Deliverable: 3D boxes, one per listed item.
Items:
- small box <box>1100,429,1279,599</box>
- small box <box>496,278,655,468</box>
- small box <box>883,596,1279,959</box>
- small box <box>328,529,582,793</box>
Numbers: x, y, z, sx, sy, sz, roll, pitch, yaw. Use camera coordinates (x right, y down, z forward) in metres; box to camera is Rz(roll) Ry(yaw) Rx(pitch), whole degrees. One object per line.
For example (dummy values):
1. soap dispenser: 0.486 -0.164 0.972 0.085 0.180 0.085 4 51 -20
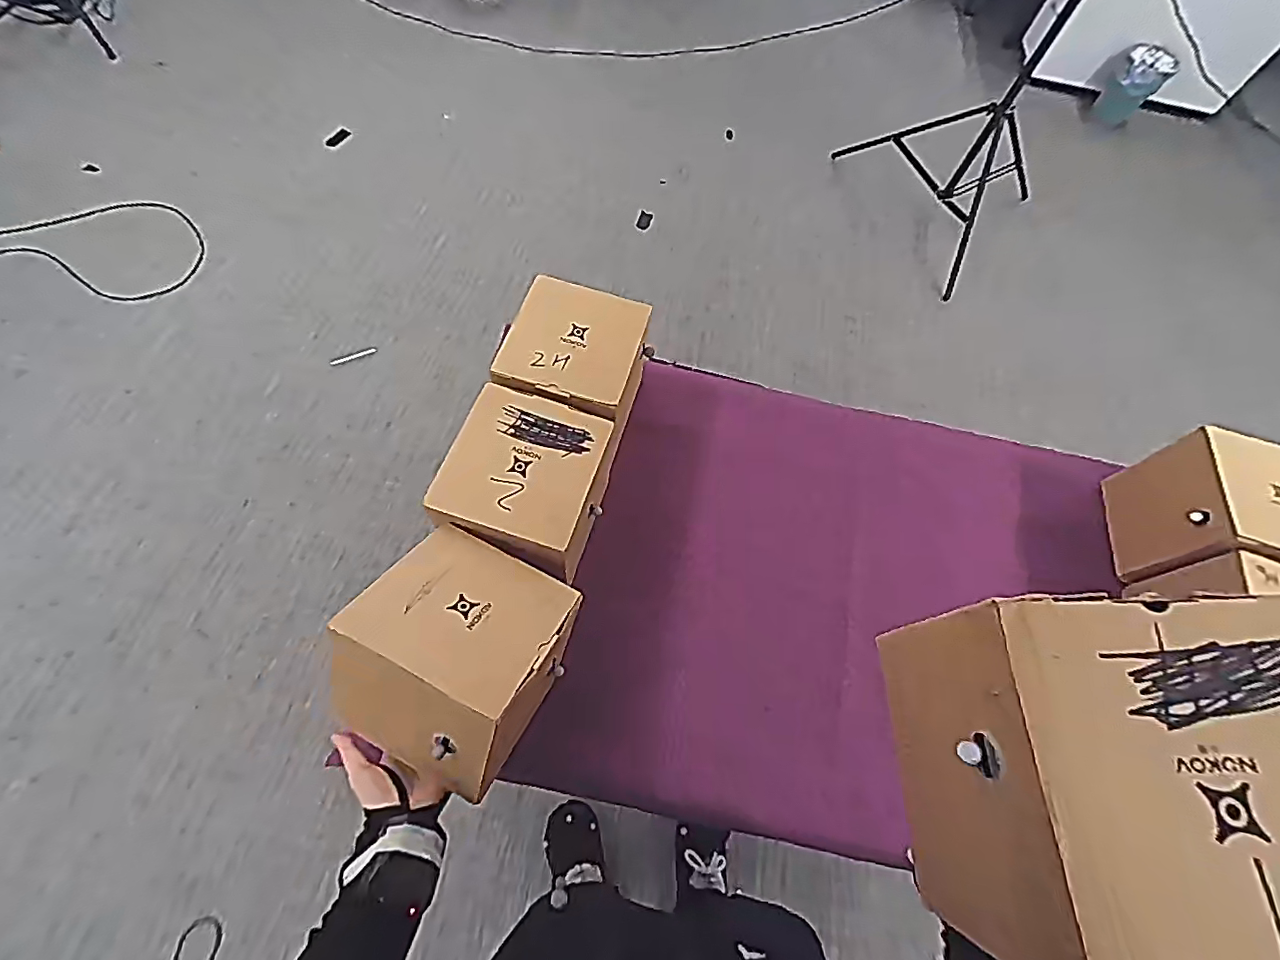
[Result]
1. small box: 0.806 0.062 0.769 0.168 0.176 0.179 17 62 1
2. small box: -0.088 -0.145 0.769 0.168 0.176 0.179 16 63 2
3. small box: 0.267 0.173 0.324 0.168 0.176 0.179 -1 68 2
4. small box: -0.186 0.190 0.564 0.179 0.176 0.168 24 35 7
